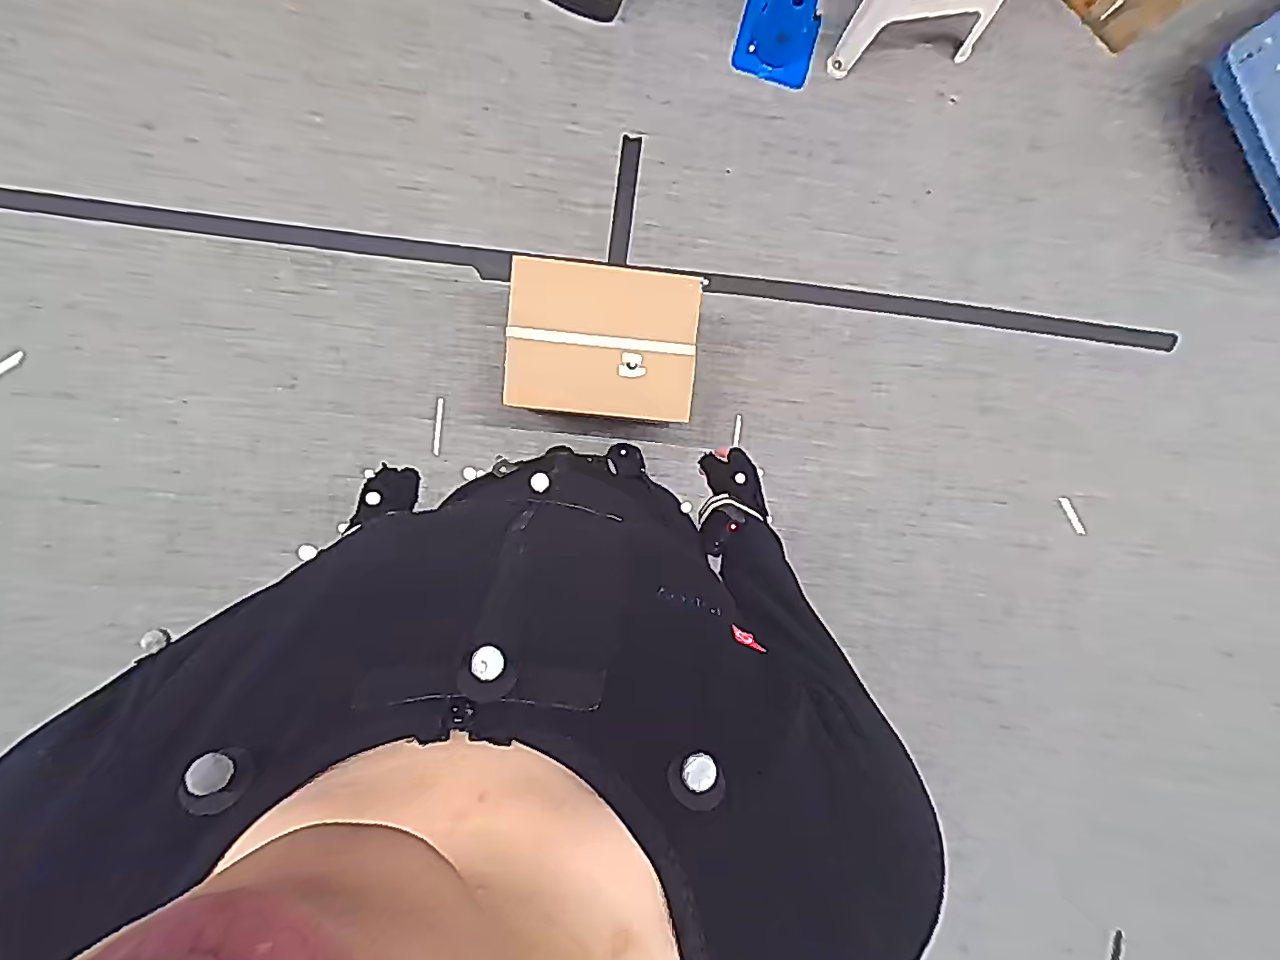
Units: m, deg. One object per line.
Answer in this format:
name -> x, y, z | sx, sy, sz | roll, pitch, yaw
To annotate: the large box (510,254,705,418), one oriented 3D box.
large box -> -0.083, -0.320, 1.299 | 0.408, 0.320, 0.320 | 5, 96, -5
